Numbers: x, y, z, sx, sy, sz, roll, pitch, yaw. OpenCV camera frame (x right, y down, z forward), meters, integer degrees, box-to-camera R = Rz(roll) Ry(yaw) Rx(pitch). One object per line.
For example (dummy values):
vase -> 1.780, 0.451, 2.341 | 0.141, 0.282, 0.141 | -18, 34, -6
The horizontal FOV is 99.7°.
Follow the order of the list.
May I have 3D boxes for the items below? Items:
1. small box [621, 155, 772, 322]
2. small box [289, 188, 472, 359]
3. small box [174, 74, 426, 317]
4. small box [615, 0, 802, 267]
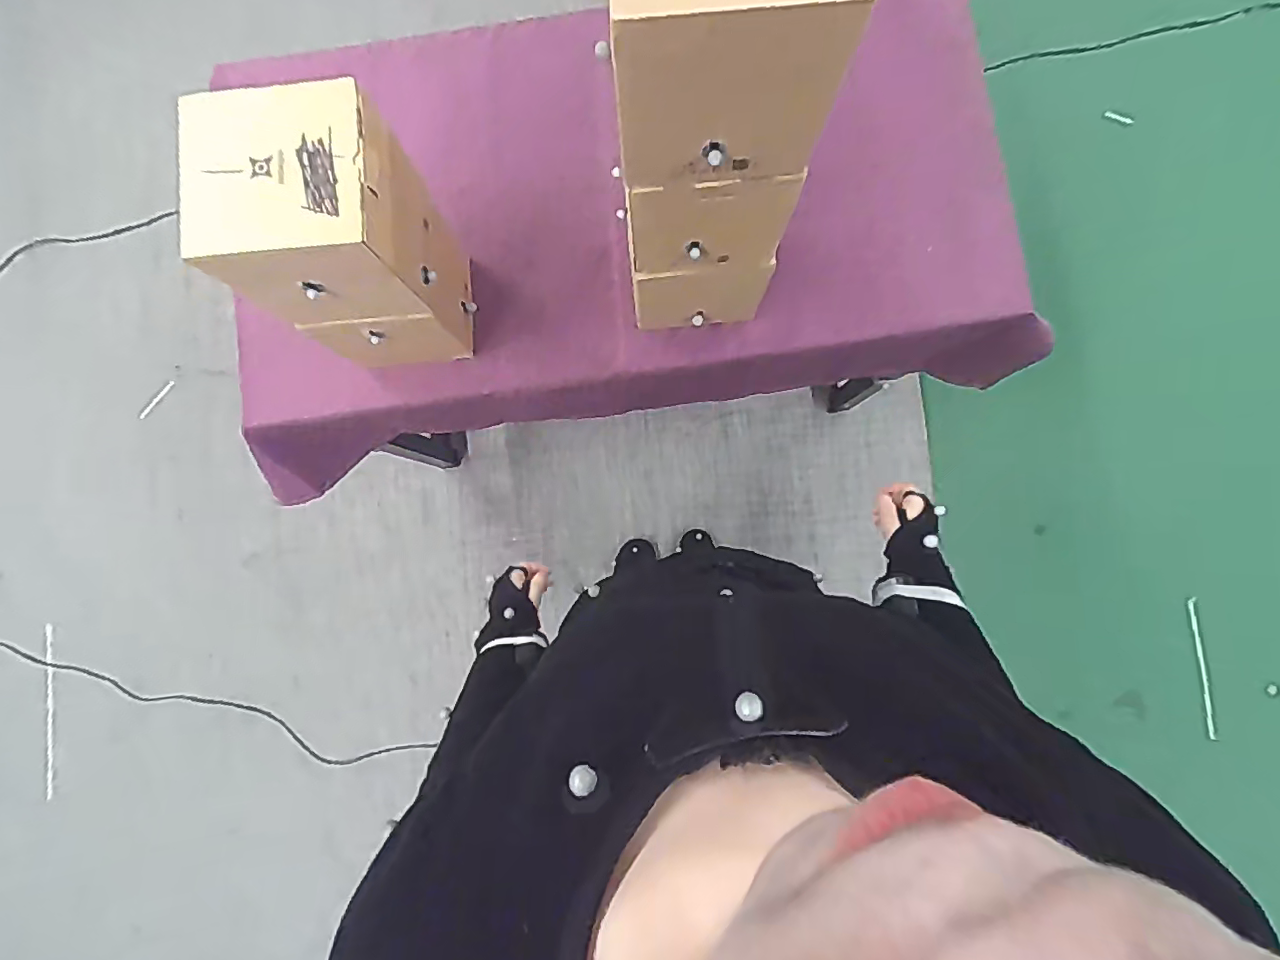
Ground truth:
small box -> 0.069, -0.332, 0.747 | 0.179, 0.176, 0.168 | -6, 84, 0
small box -> -0.349, -0.273, 0.749 | 0.179, 0.176, 0.168 | -4, 86, 0
small box -> -0.346, -0.290, 0.586 | 0.179, 0.176, 0.168 | -5, 86, 1
small box -> 0.063, -0.357, 0.585 | 0.168, 0.176, 0.179 | -5, 86, 1
